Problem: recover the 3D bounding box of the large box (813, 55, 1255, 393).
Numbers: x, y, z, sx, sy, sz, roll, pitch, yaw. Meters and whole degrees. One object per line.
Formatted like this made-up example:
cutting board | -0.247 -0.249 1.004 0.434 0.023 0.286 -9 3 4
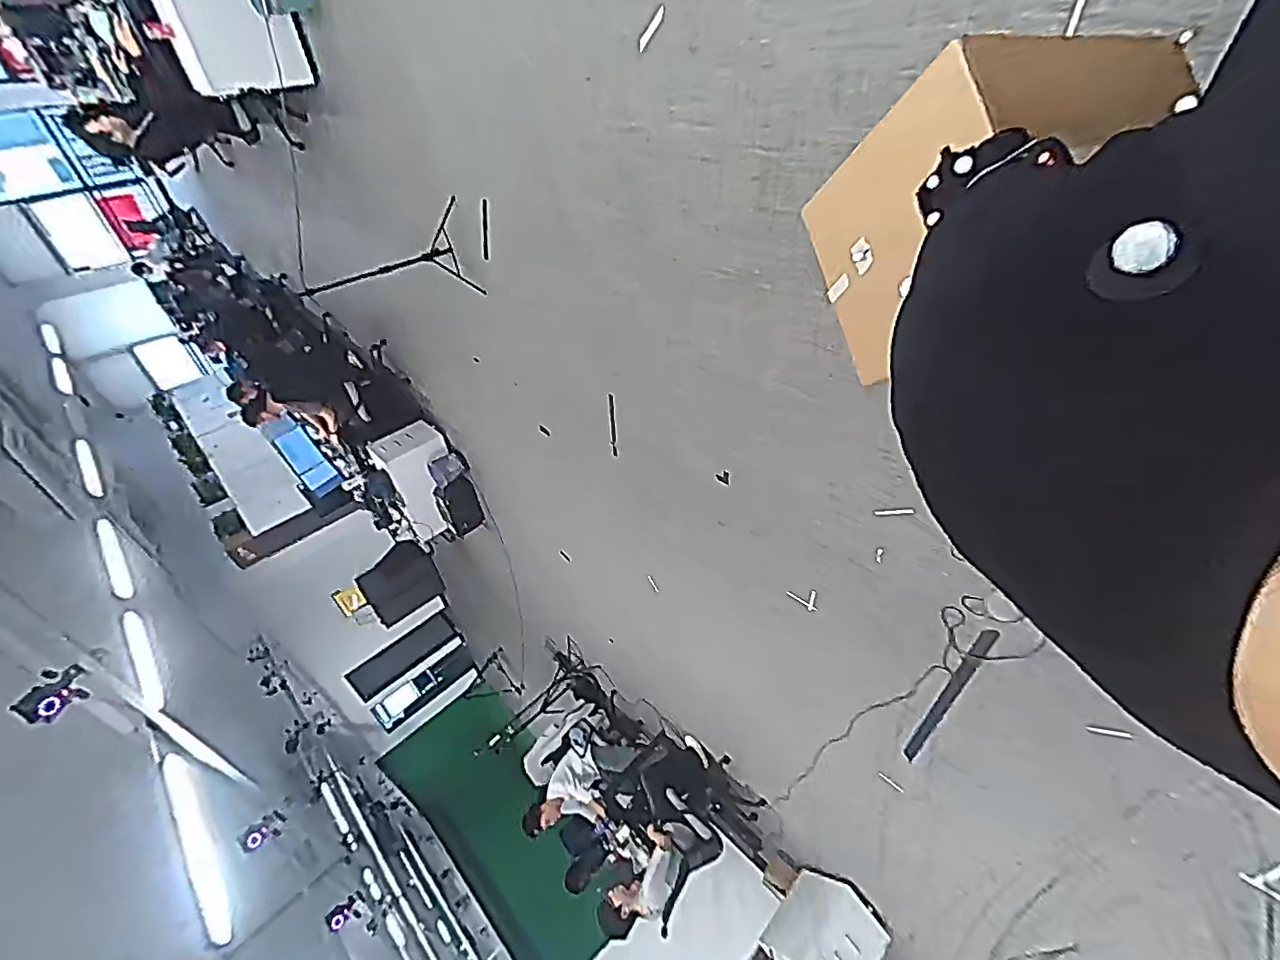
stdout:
large box | 0.546 -0.358 0.803 0.320 0.408 0.320 151 102 -70
